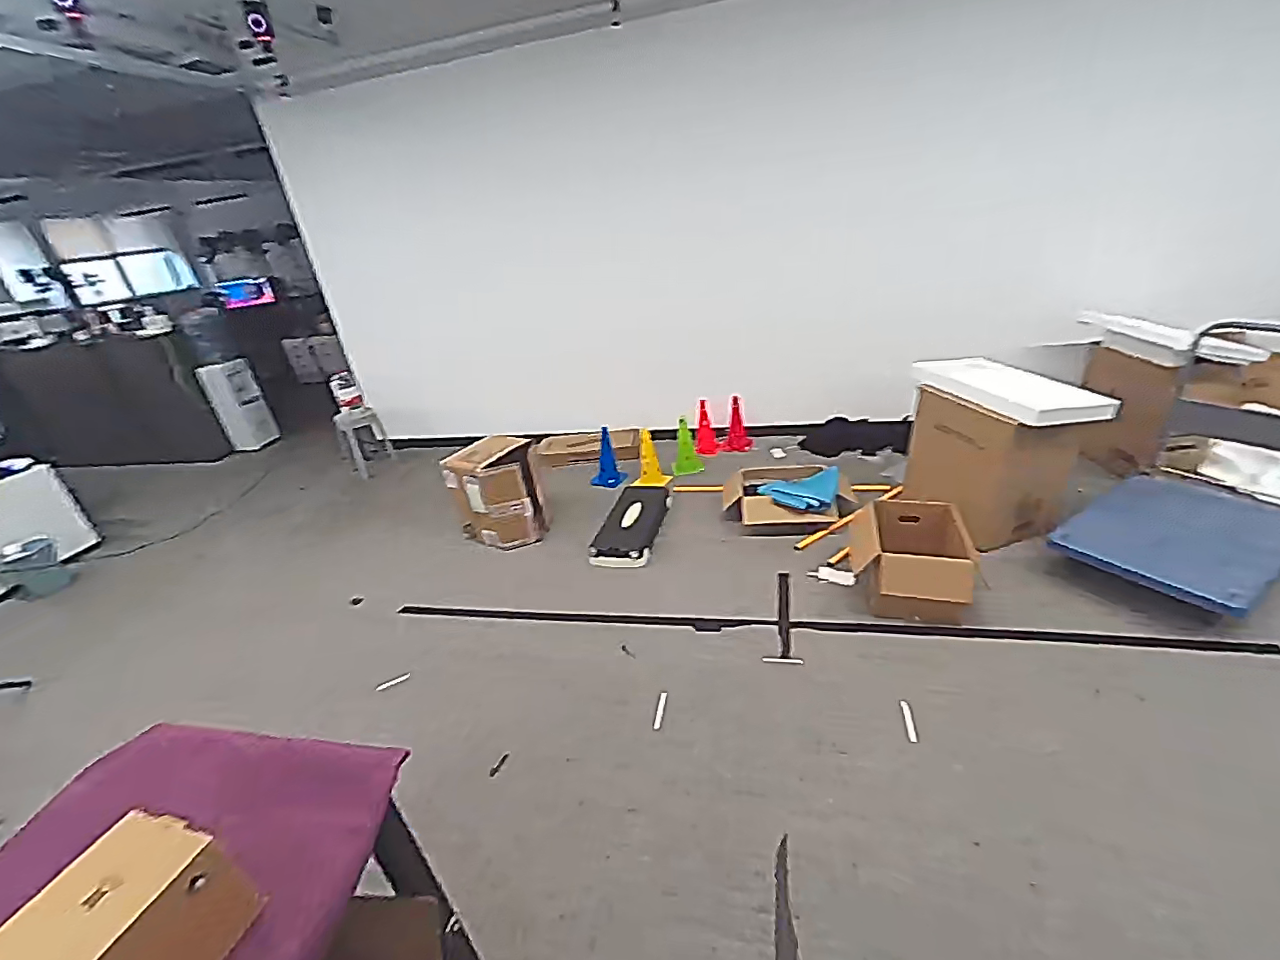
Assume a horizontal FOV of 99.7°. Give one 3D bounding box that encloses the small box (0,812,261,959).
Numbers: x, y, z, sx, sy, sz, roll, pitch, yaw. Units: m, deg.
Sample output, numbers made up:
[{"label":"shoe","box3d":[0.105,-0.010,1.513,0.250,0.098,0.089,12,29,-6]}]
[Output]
[{"label":"small box","box3d":[-0.644,0.576,0.693,0.168,0.176,0.179,1,28,18]}]
